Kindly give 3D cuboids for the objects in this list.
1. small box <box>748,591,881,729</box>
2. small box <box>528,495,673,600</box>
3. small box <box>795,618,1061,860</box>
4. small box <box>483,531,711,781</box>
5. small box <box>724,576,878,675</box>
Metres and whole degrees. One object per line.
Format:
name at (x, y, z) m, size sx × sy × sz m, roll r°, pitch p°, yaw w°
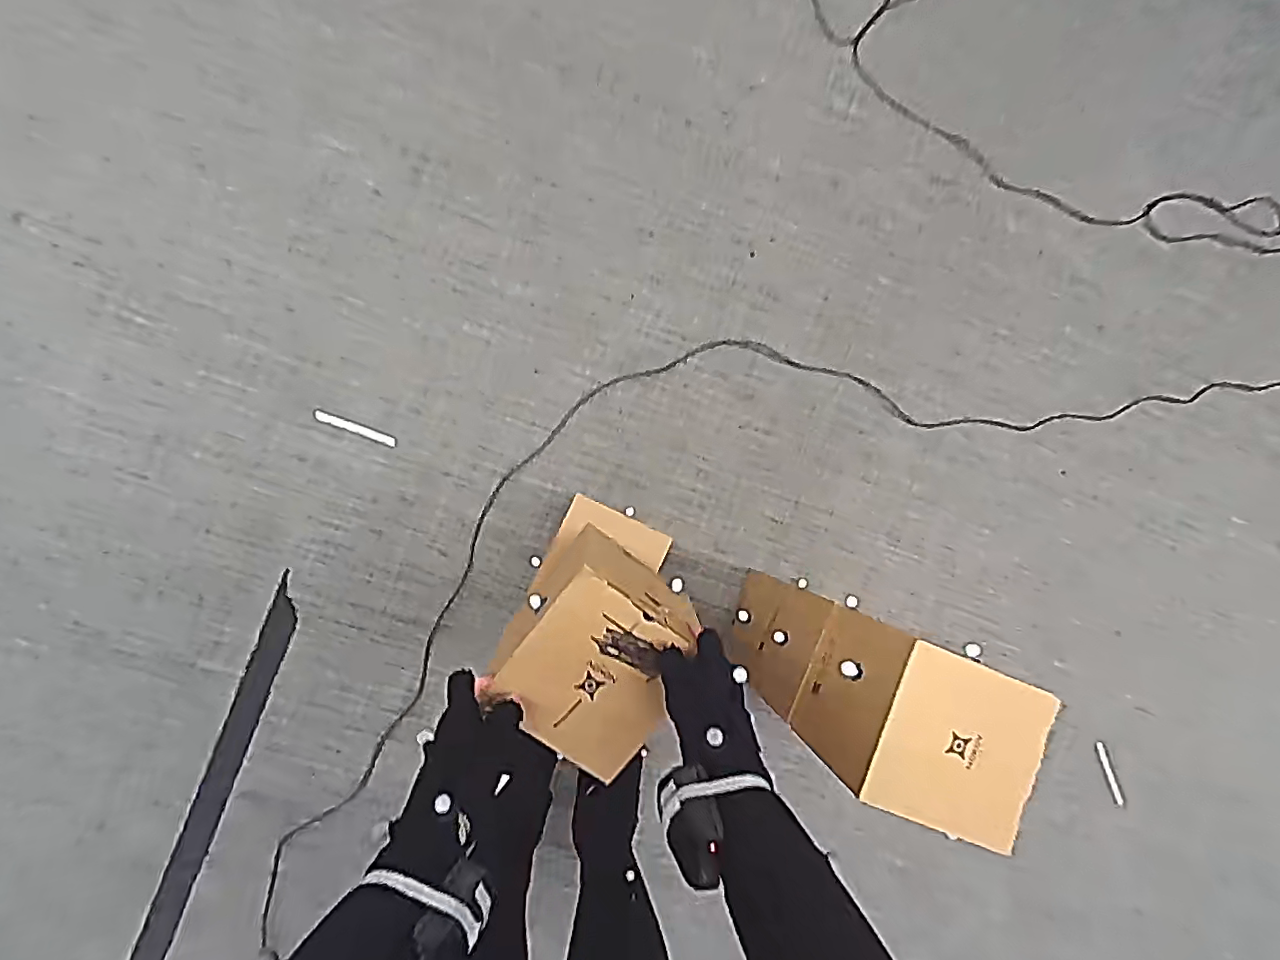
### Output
small box at (0.279, 0.271, 0.767) m, size 0.179 × 0.176 × 0.168 m, roll 26°, pitch 86°, yaw -7°
small box at (-0.067, 0.137, 0.891) m, size 0.168 × 0.176 × 0.179 m, roll 27°, pitch 86°, yaw -7°
small box at (0.303, 0.269, 0.605) m, size 0.179 × 0.176 × 0.168 m, roll 23°, pitch 86°, yaw -8°
small box at (-0.048, 0.184, 0.618) m, size 0.168 × 0.176 × 0.179 m, roll 38°, pitch 97°, yaw -9°
small box at (0.267, 0.275, 0.932) m, size 0.179 × 0.176 × 0.168 m, roll 24°, pitch 87°, yaw -6°
